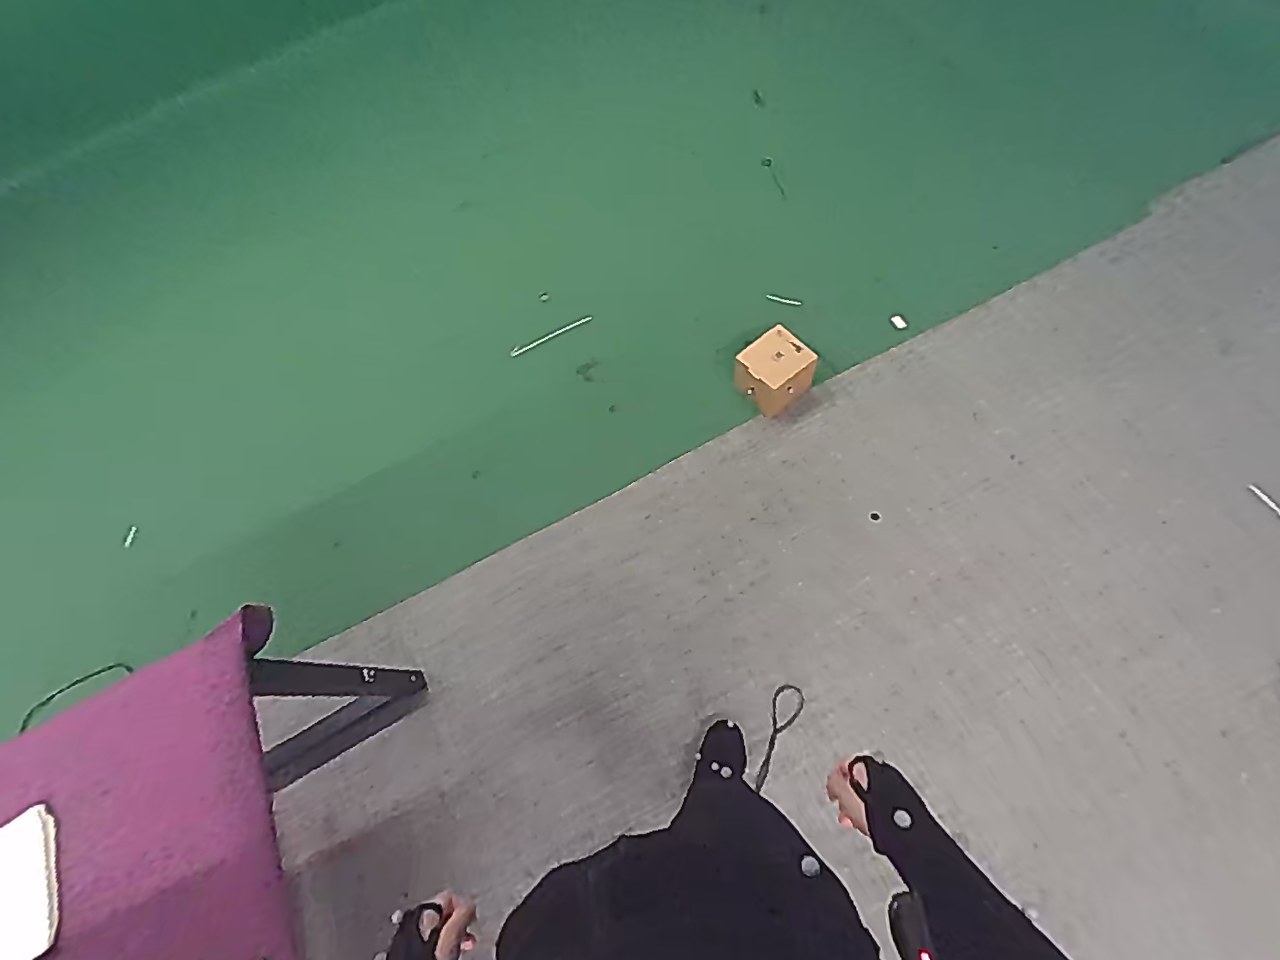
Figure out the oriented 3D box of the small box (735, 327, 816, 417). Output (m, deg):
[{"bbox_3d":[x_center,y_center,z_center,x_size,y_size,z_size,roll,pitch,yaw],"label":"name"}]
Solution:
[{"bbox_3d":[0.411,-0.324,1.659,0.179,0.176,0.168,-38,67,-7],"label":"small box"}]
